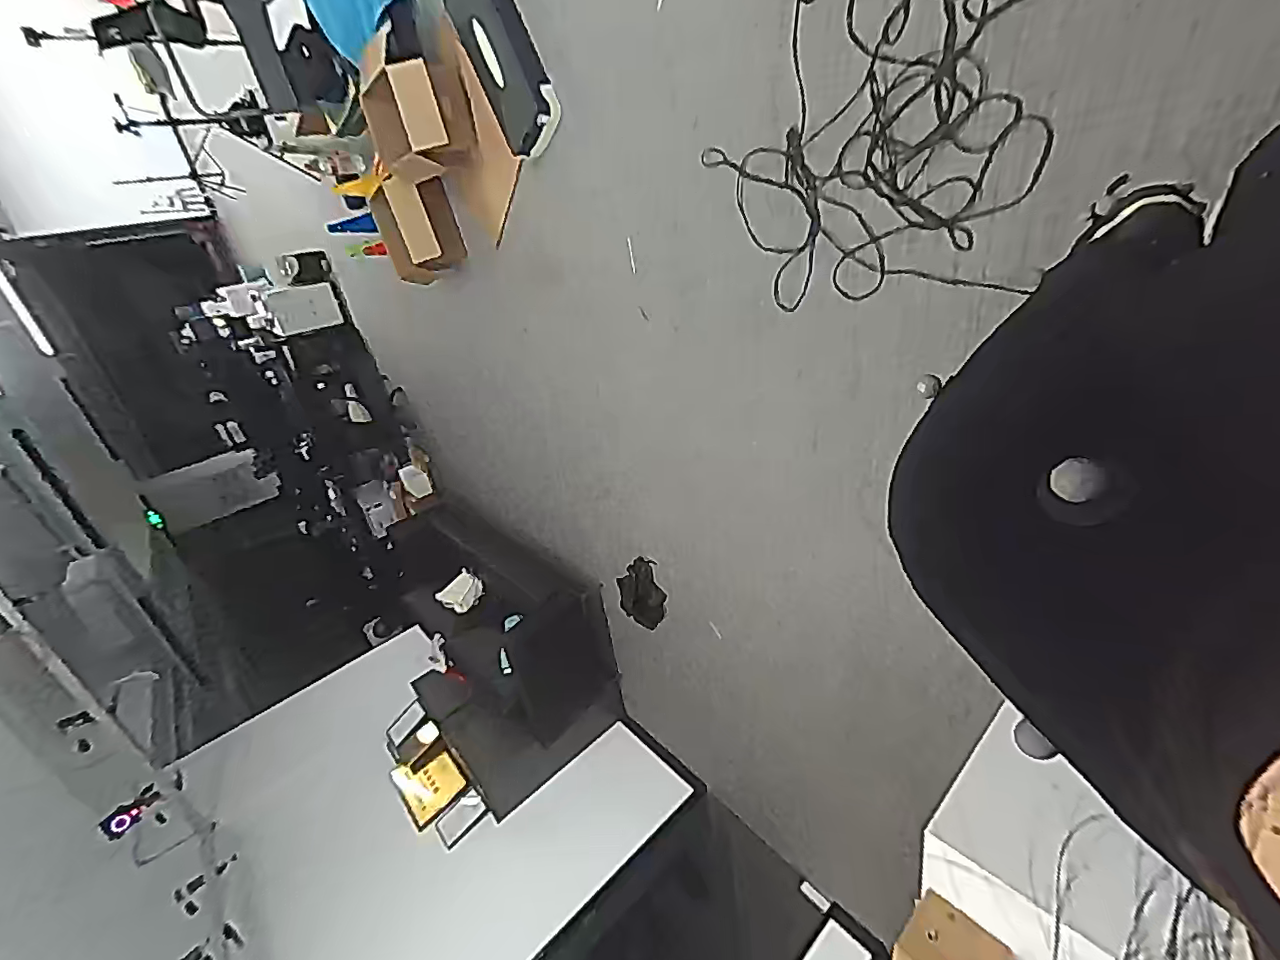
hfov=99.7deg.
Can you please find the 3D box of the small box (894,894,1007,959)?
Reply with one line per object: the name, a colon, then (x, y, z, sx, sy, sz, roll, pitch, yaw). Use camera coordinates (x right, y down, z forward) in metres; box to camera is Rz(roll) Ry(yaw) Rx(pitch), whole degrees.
small box: (0.671, 1.068, 1.179, 0.168, 0.176, 0.179, 22, 131, 46)
